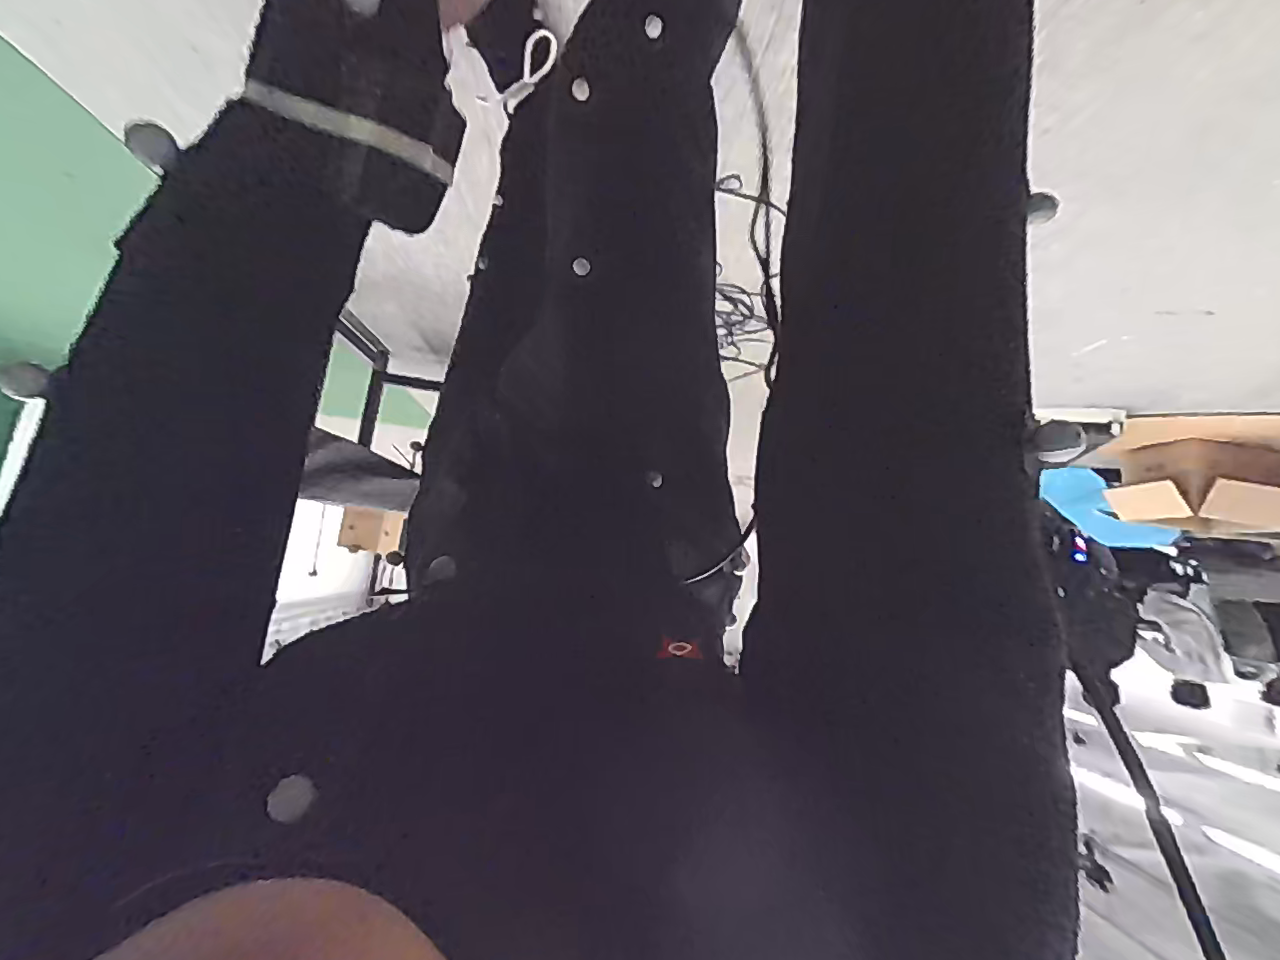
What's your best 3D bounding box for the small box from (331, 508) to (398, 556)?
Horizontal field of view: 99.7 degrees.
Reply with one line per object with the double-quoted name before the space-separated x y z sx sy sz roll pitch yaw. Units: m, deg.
"small box" -1.085 0.207 2.139 0.168 0.176 0.179 8 173 2
